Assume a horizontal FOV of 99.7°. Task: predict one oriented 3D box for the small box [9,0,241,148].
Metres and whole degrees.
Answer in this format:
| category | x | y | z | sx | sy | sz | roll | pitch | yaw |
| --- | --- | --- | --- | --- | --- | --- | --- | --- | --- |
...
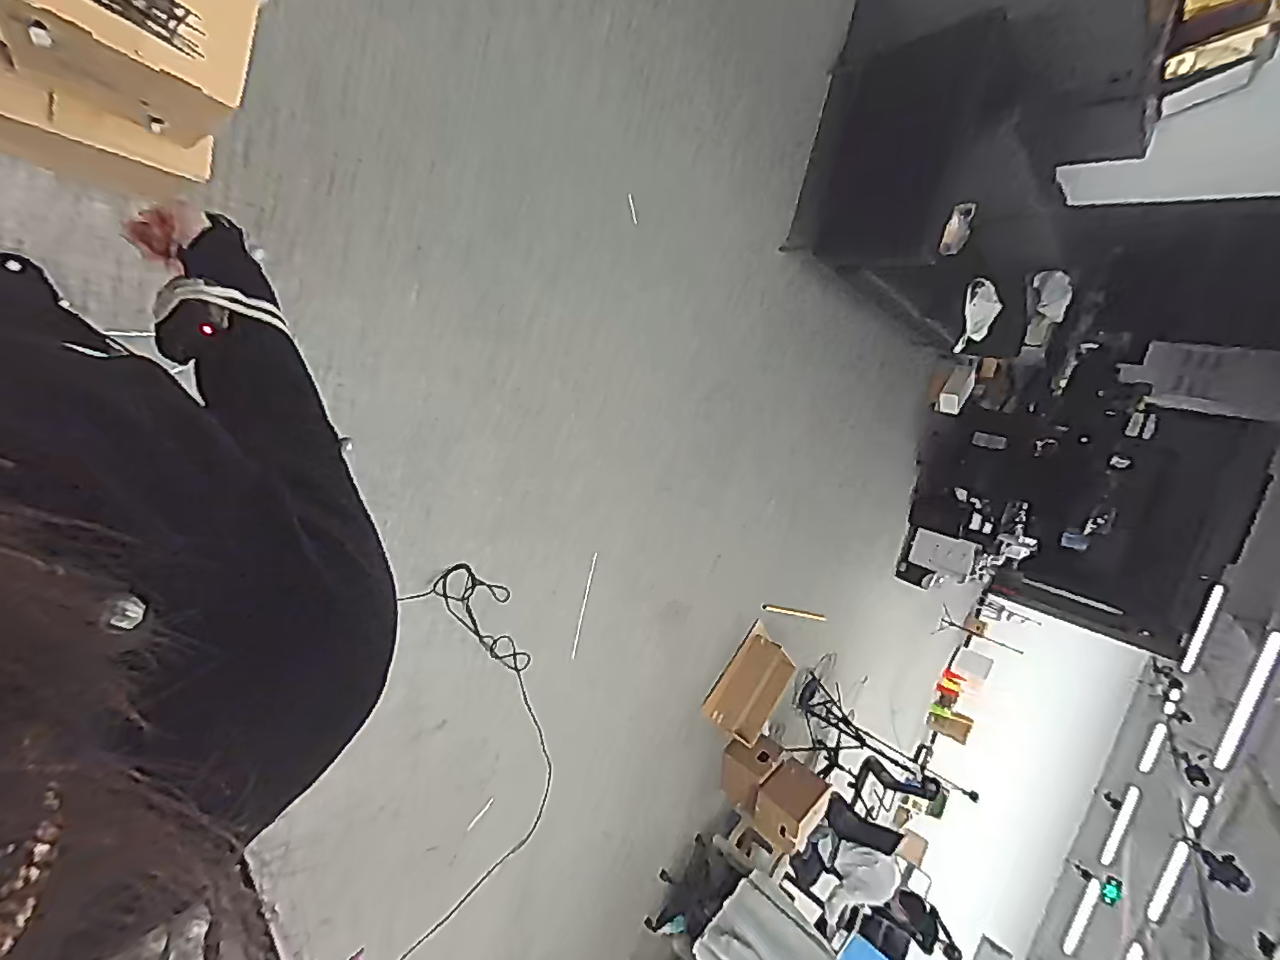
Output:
| category | x | y | z | sx | sy | sz | roll | pitch | yaw |
| --- | --- | --- | --- | --- | --- | --- | --- | --- | --- |
| small box | -0.596 | -0.524 | 0.634 | 0.168 | 0.176 | 0.179 | 9 | 99 | -48 |
